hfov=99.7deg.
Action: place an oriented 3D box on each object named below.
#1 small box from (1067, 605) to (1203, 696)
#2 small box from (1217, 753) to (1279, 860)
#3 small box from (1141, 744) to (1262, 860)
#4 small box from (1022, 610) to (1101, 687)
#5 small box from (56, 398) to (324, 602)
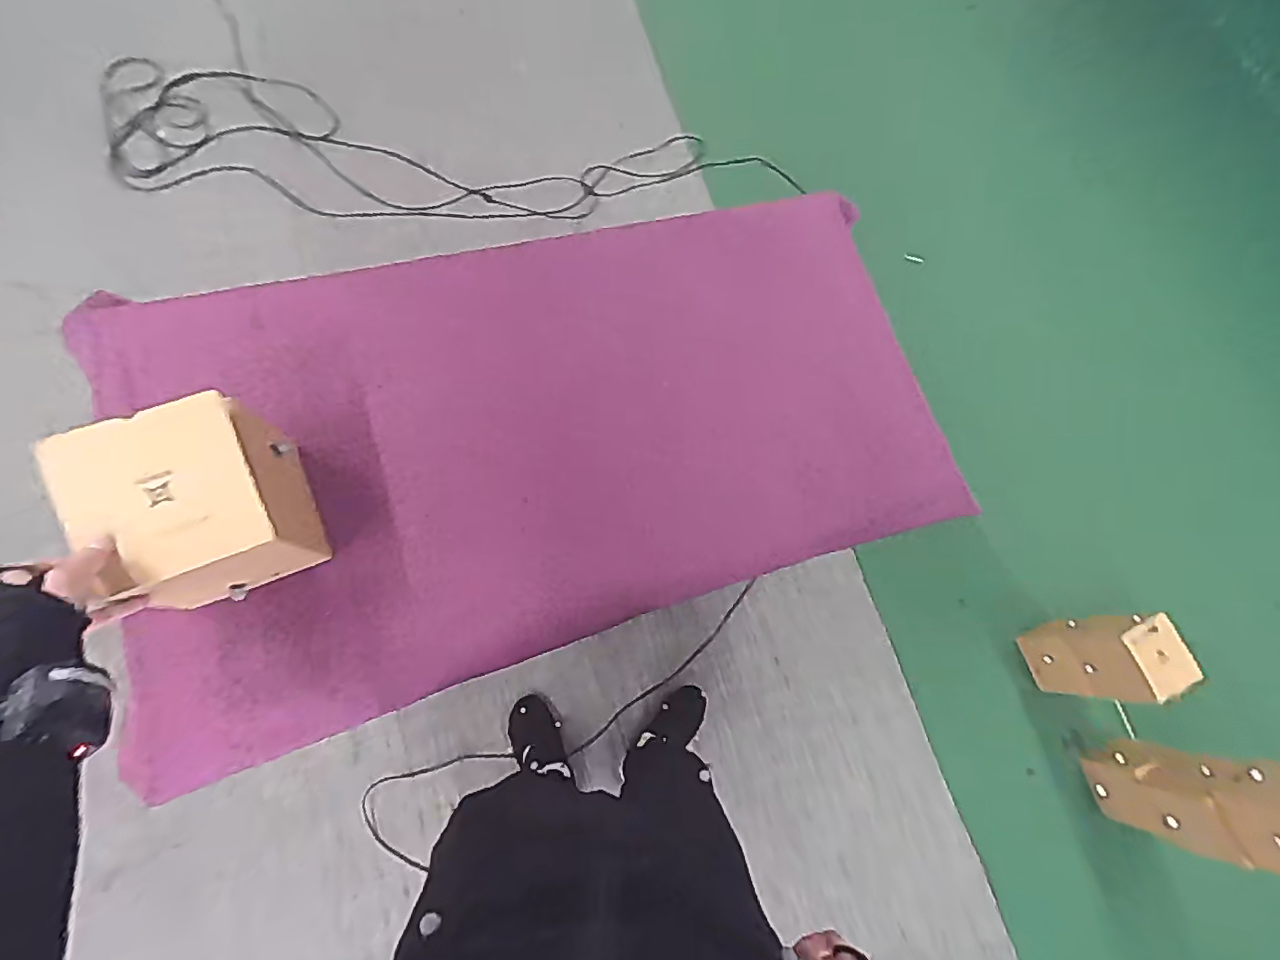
[{"bbox_3d":[1.297,0.443,1.429,0.168,0.176,0.179,-20,79,-15],"label":"small box"},{"bbox_3d":[1.474,0.742,1.203,0.168,0.176,0.179,-23,79,-15],"label":"small box"},{"bbox_3d":[1.432,0.793,1.355,0.179,0.176,0.168,-25,80,-15],"label":"small box"},{"bbox_3d":[1.270,0.491,1.583,0.179,0.176,0.168,-17,78,-14],"label":"small box"},{"bbox_3d":[-0.511,0.033,0.640,0.168,0.176,0.179,-22,80,-14],"label":"small box"}]
